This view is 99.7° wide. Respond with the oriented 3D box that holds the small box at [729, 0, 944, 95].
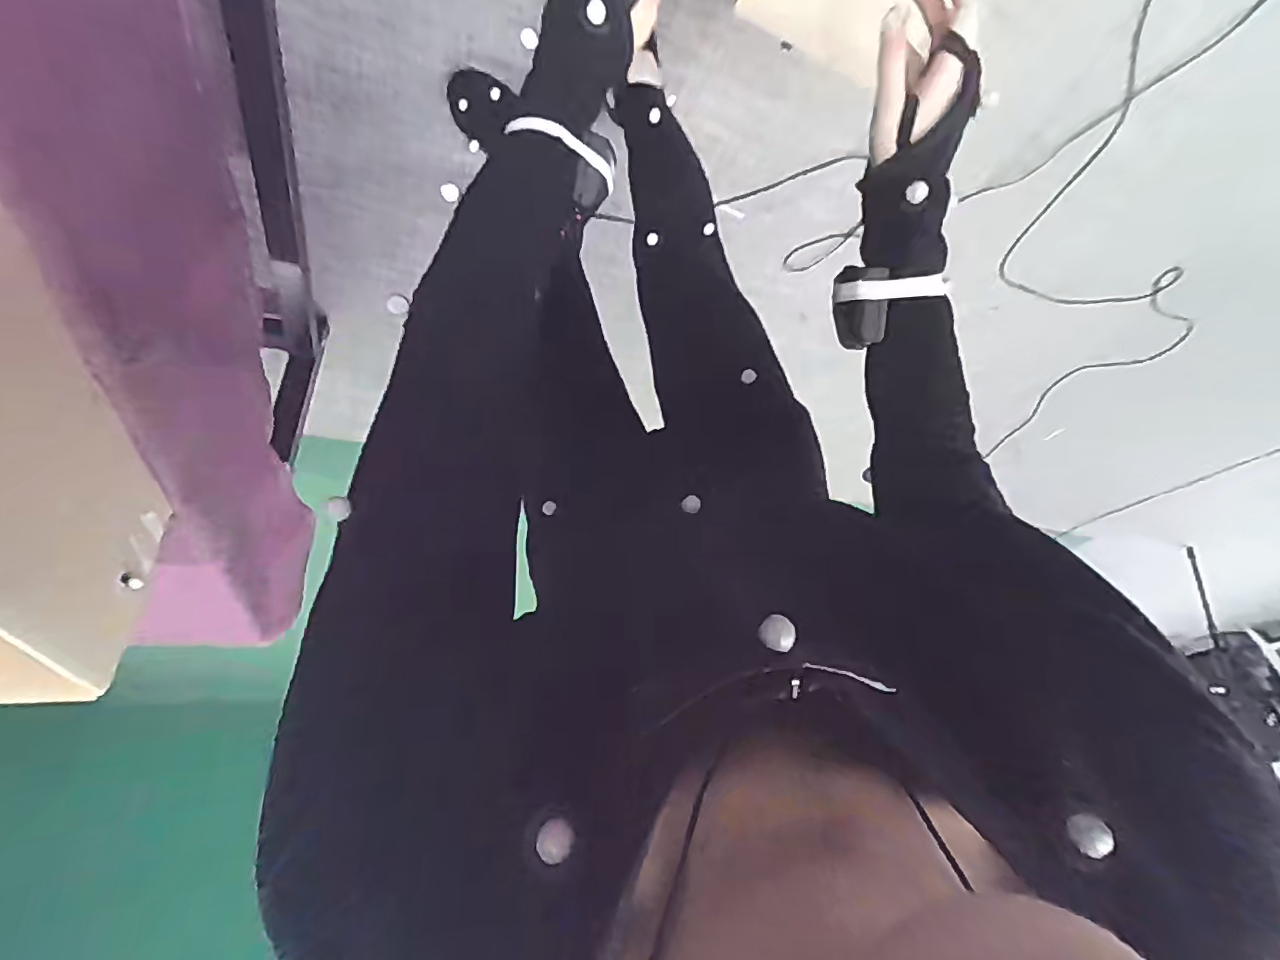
[{"bbox_3d":[0.177,-0.494,0.476,0.179,0.176,0.168,8,145,-23],"label":"small box"}]
